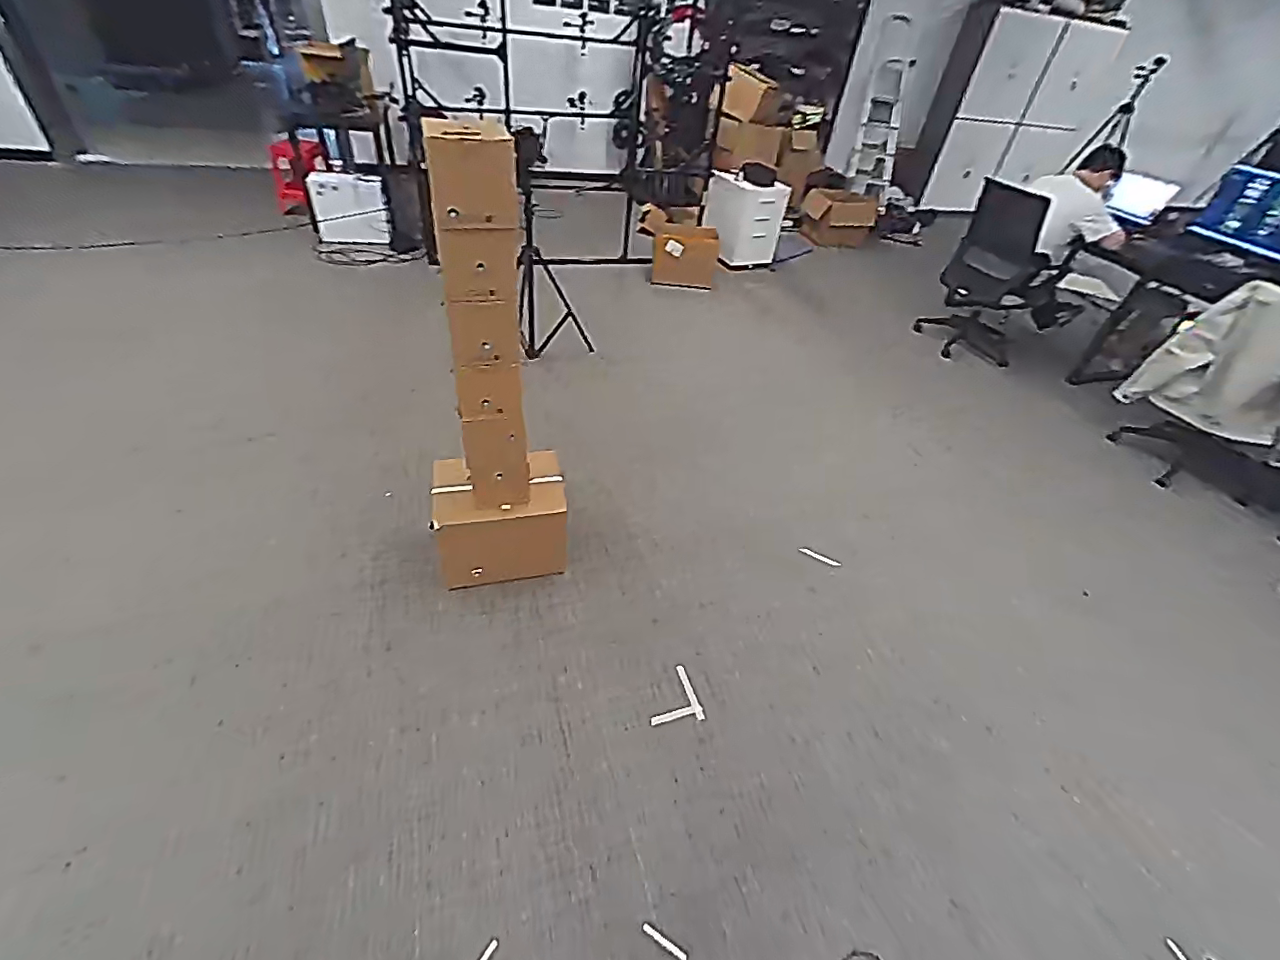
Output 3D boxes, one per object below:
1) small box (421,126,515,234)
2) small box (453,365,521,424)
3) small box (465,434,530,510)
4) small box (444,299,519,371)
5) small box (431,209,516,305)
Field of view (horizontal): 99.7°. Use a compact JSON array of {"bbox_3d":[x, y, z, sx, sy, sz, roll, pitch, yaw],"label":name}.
[{"bbox_3d":[-0.364,-0.637,1.152,0.168,0.176,0.179,-9,44,-18],"label":"small box"},{"bbox_3d":[-0.419,-0.271,1.478,0.168,0.176,0.179,-7,44,-17],"label":"small box"},{"bbox_3d":[-0.442,-0.022,1.687,0.179,0.176,0.168,-7,44,-18],"label":"small box"},{"bbox_3d":[-0.404,-0.396,1.372,0.168,0.176,0.179,-9,45,-17],"label":"small box"},{"bbox_3d":[-0.387,-0.522,1.268,0.168,0.176,0.179,-8,45,-18],"label":"small box"}]
